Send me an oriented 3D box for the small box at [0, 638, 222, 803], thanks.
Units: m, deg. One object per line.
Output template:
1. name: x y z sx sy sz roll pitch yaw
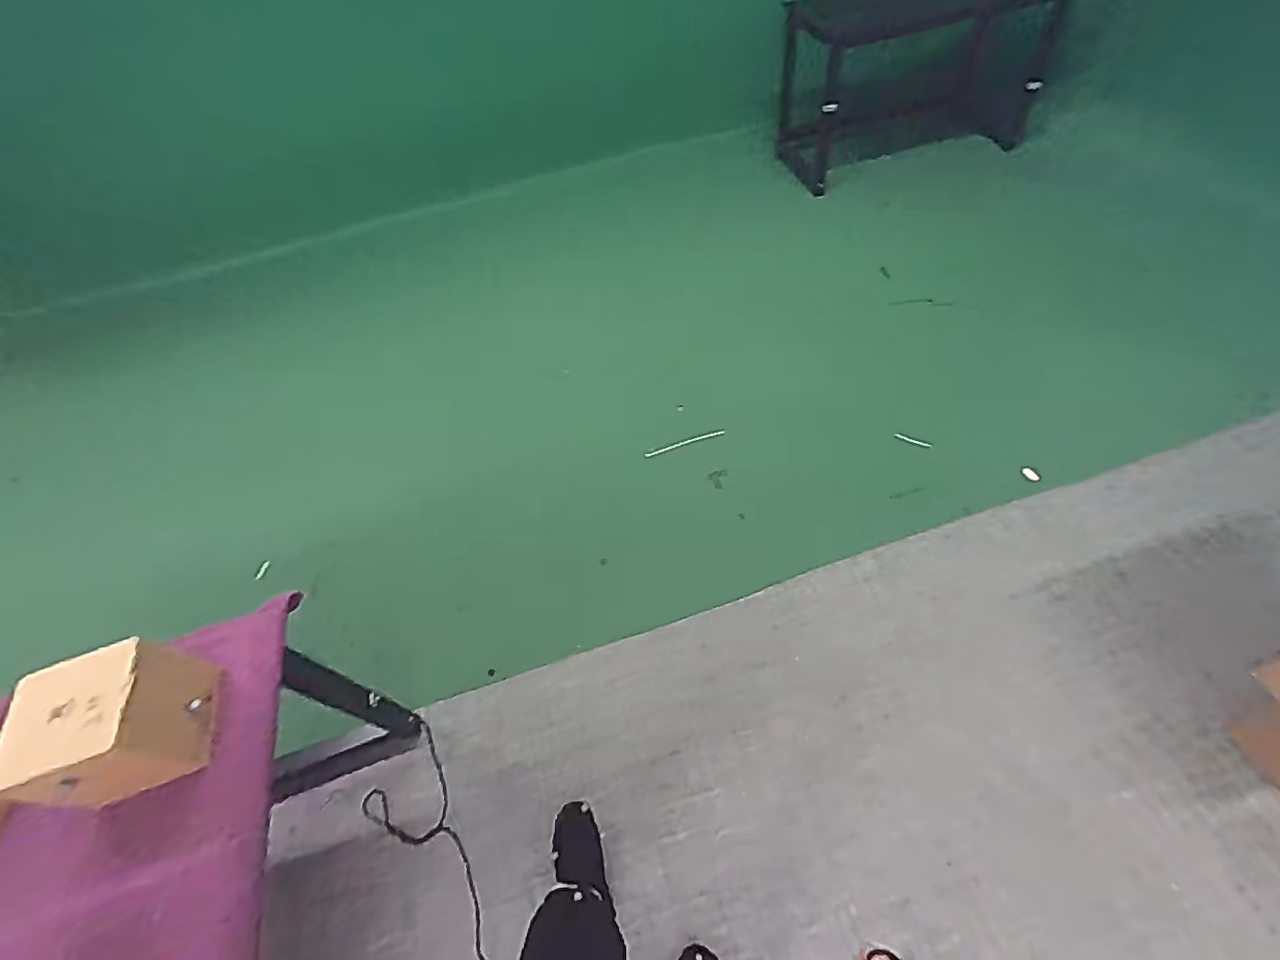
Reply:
1. small box: -0.795 0.371 0.823 0.179 0.176 0.168 -19 55 -5
